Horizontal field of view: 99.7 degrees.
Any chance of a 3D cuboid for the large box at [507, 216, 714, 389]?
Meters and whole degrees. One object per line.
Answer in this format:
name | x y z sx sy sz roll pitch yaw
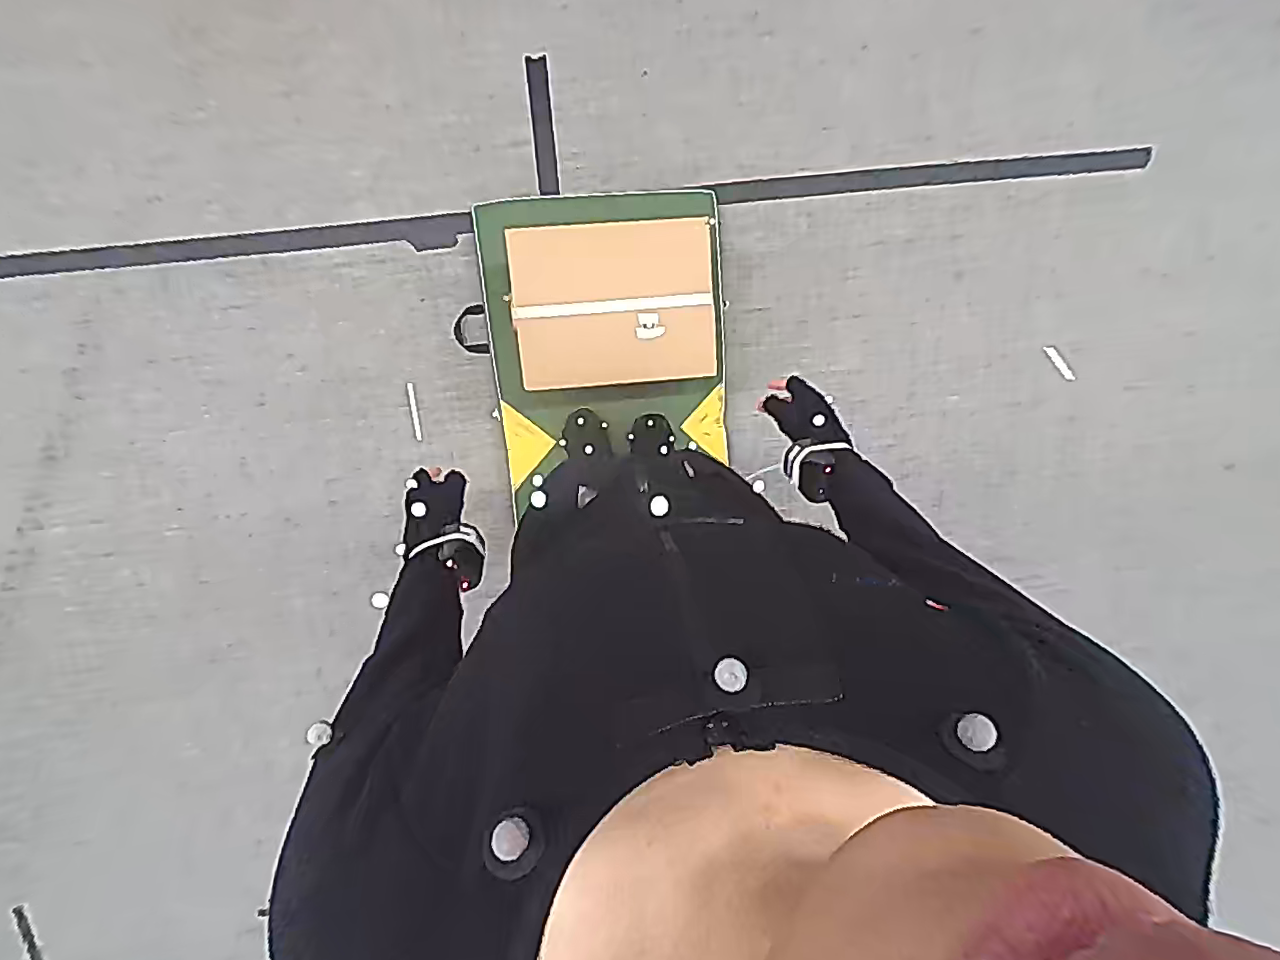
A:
large box | -0.068 -0.389 1.249 0.408 0.320 0.320 -6 103 -5
